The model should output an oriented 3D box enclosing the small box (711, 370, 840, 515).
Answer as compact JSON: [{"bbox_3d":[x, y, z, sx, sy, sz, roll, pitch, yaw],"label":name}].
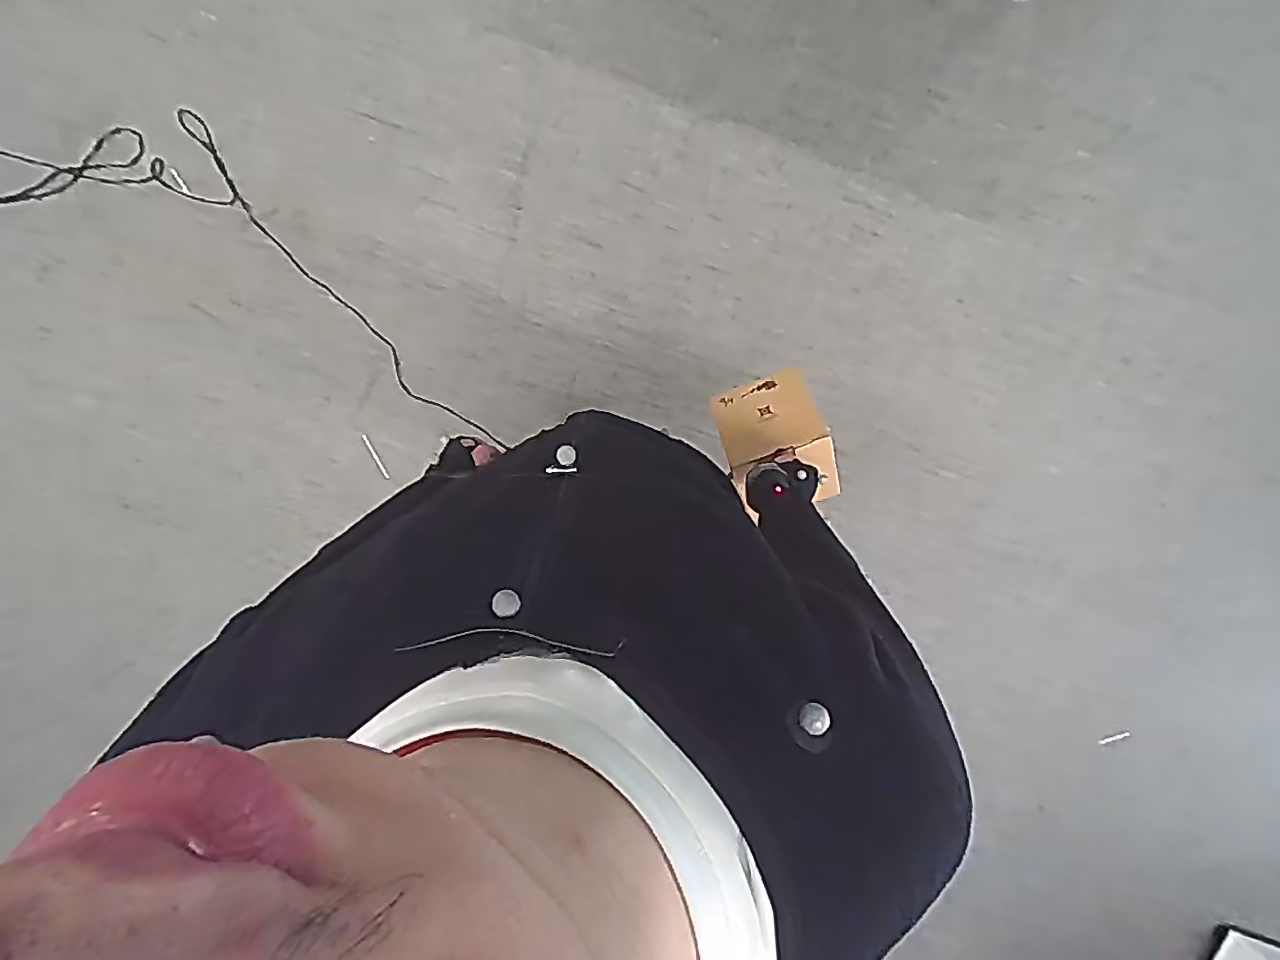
[{"bbox_3d":[0.245,-0.058,0.972,0.168,0.179,0.176,-21,139,12],"label":"small box"}]
